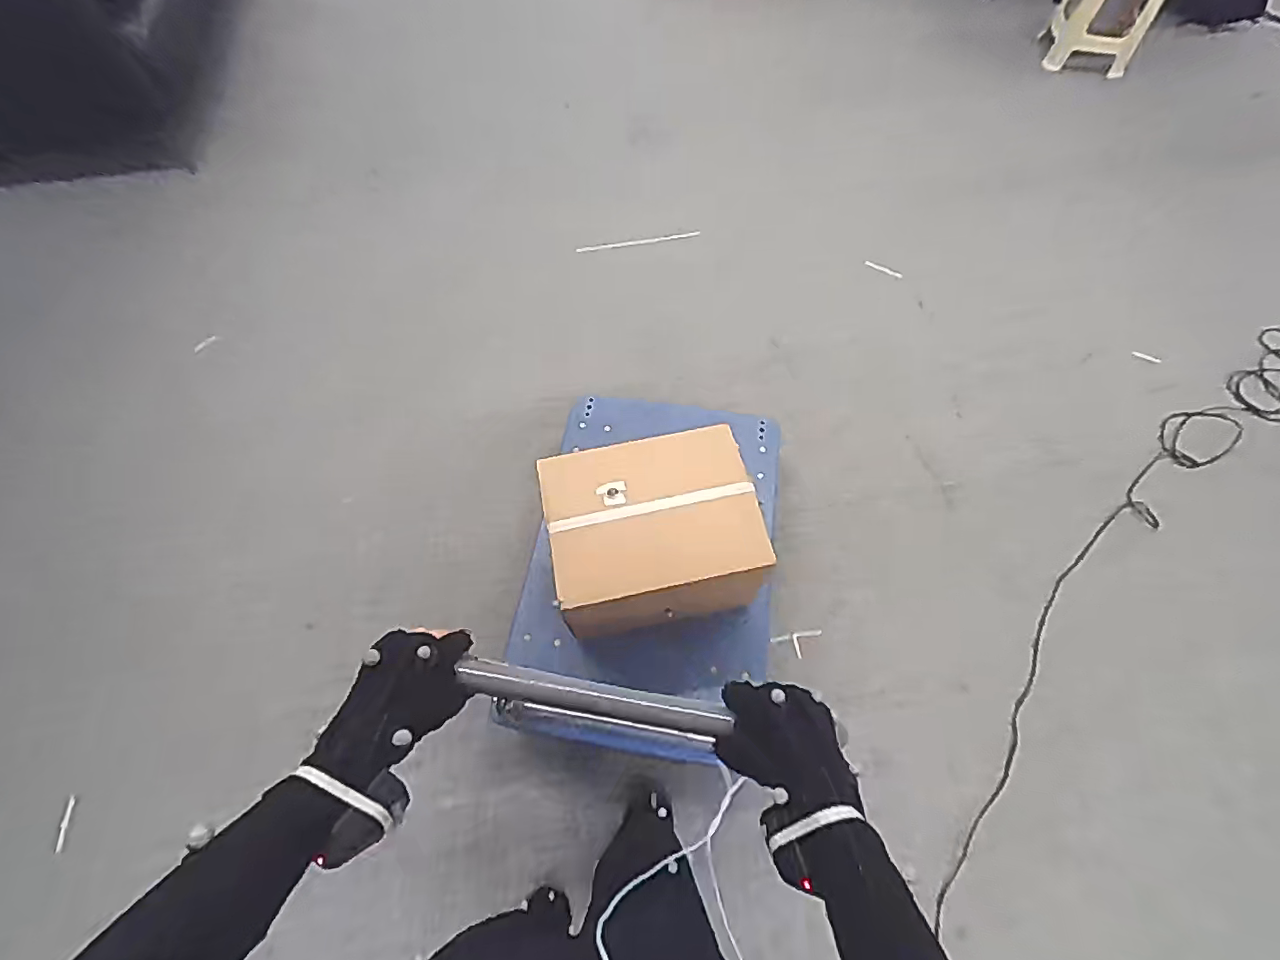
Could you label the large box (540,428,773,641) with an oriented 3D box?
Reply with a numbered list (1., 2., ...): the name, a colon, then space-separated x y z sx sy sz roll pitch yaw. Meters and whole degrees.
1. large box: 0.028 0.131 1.184 0.408 0.320 0.320 -12 62 -4
